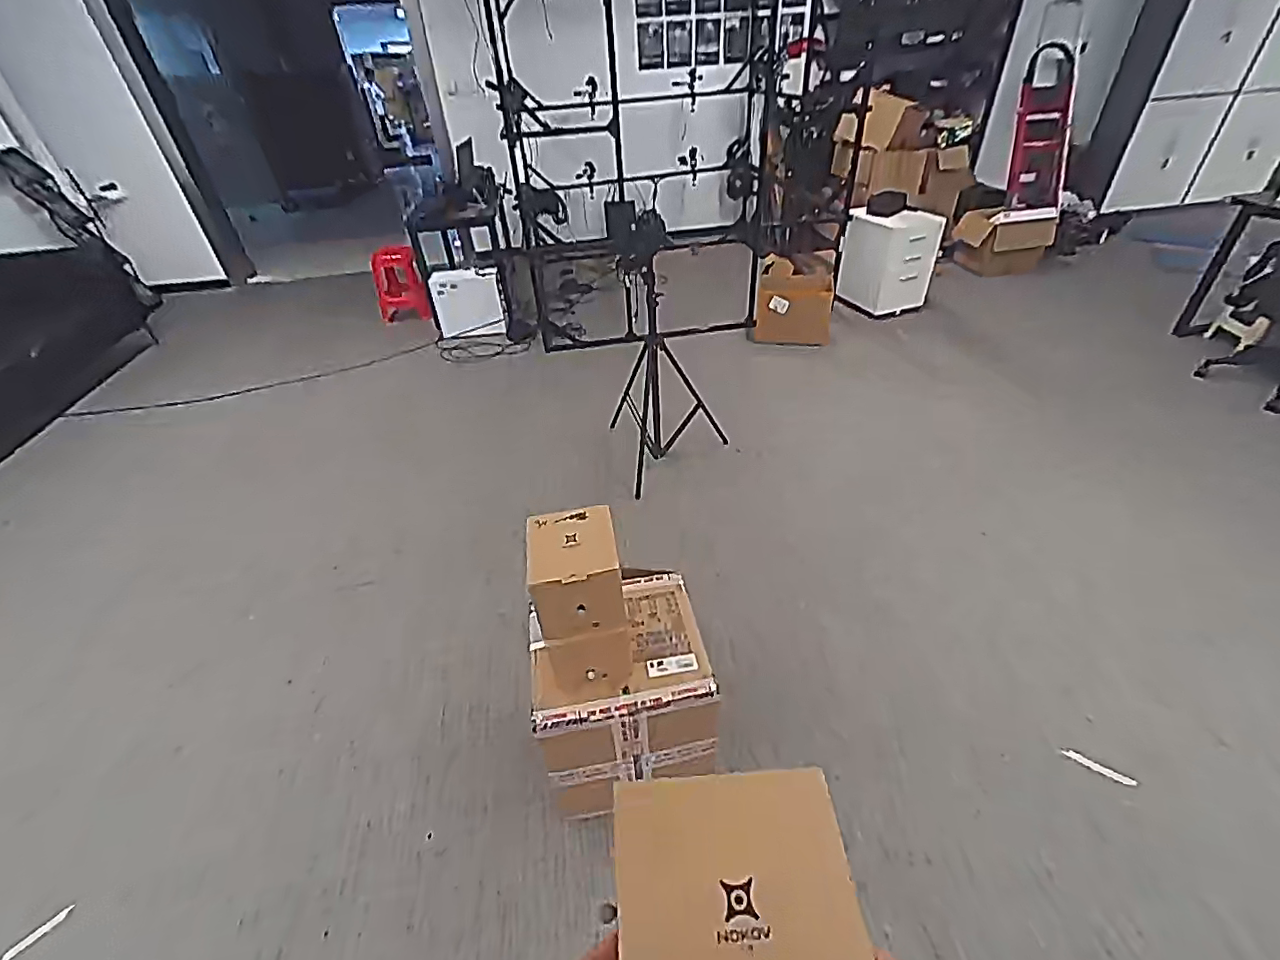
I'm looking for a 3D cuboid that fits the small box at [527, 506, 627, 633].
[{"bbox_3d":[-0.122,0.179,1.050,0.168,0.176,0.179,-9,42,-5],"label":"small box"}]

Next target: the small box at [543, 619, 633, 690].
[{"bbox_3d":[-0.113,0.312,1.147,0.168,0.176,0.179,-10,42,-6],"label":"small box"}]
